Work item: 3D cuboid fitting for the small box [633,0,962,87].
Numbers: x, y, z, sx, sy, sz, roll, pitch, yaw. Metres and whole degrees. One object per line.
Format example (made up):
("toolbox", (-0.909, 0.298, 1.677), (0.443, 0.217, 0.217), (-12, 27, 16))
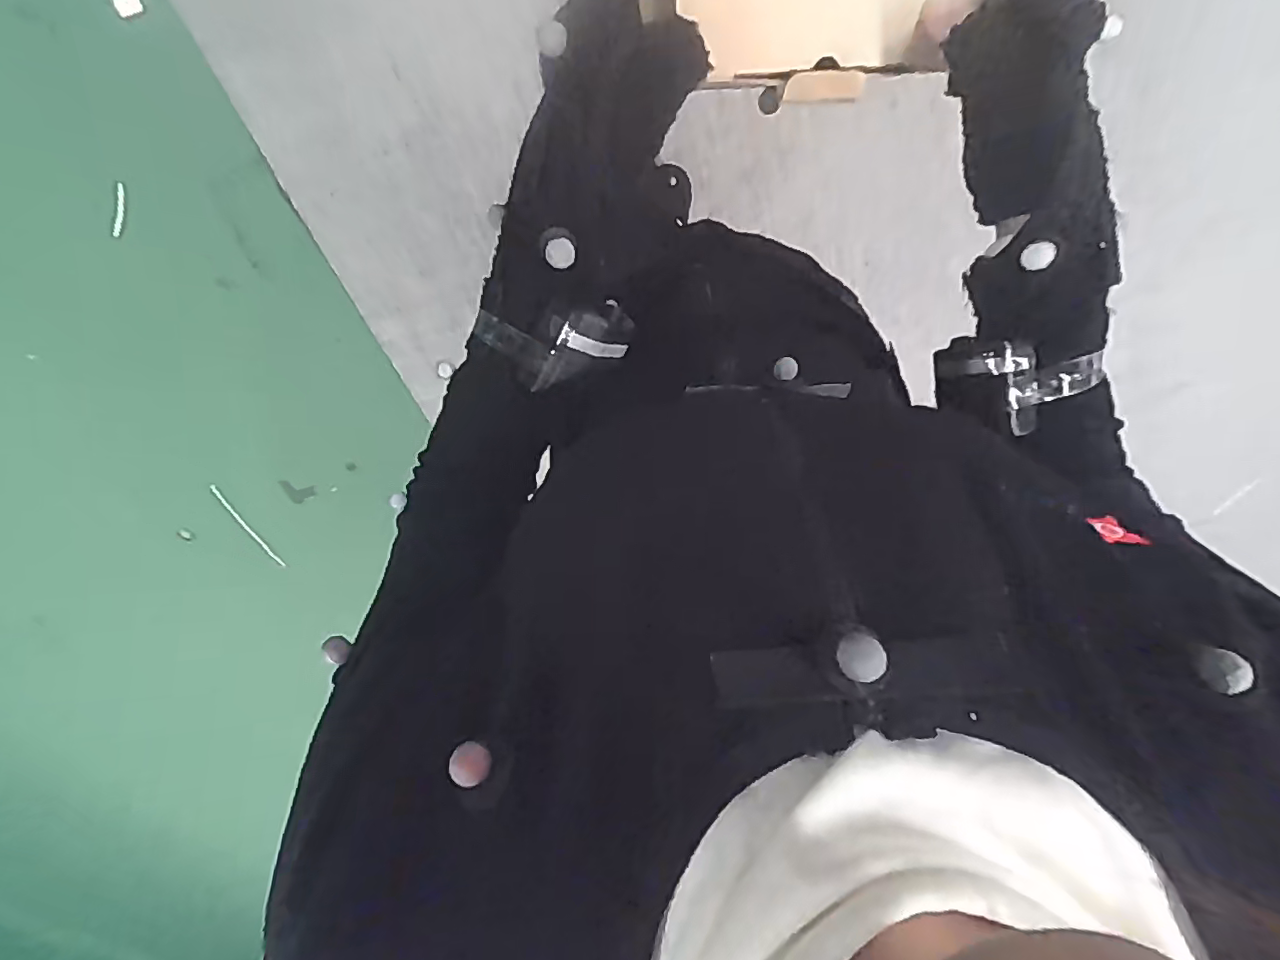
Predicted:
("small box", (0.082, -0.344, 0.318), (0.168, 0.176, 0.179), (-6, 125, -3))
